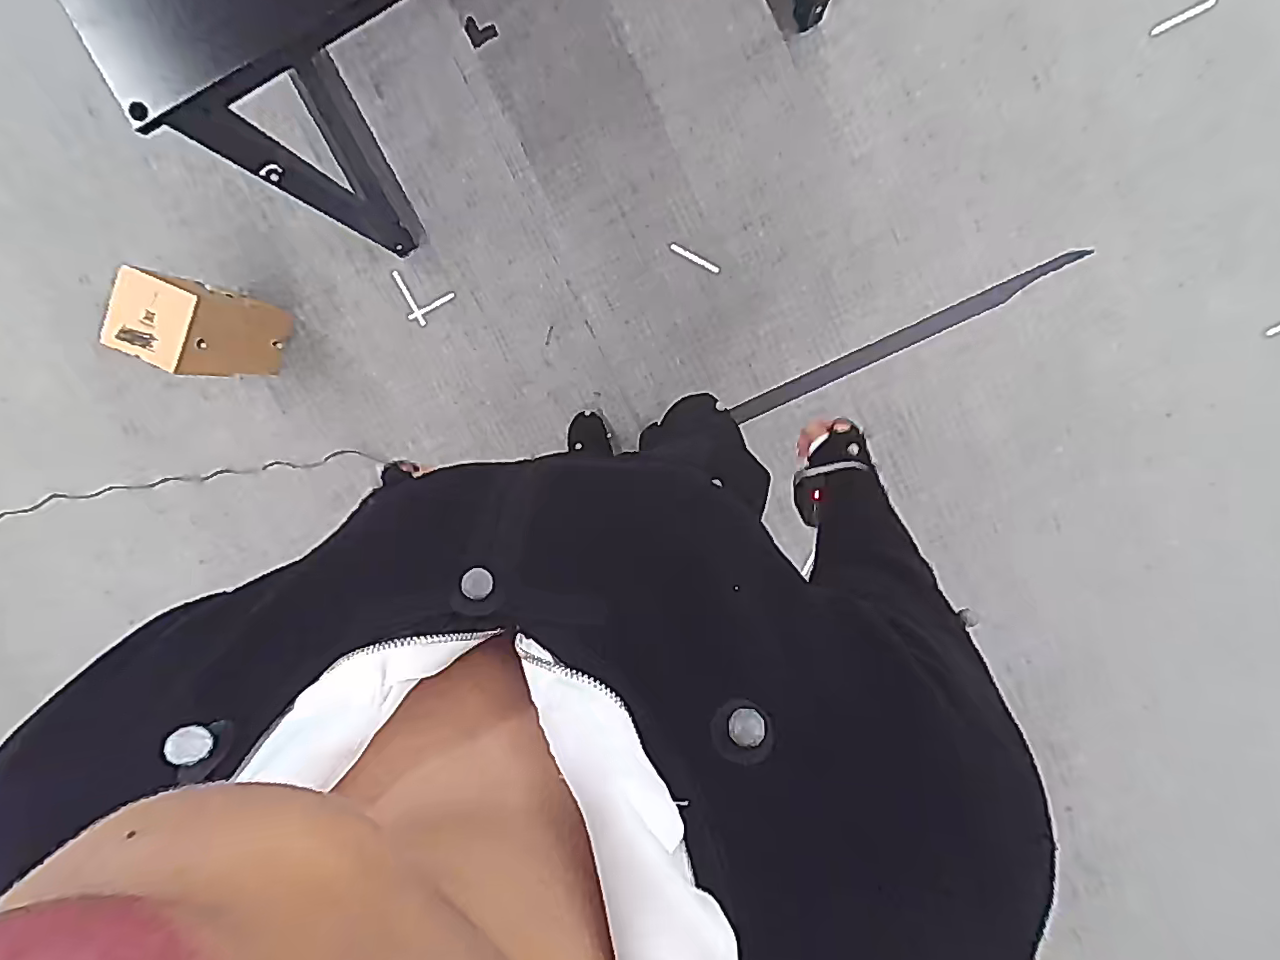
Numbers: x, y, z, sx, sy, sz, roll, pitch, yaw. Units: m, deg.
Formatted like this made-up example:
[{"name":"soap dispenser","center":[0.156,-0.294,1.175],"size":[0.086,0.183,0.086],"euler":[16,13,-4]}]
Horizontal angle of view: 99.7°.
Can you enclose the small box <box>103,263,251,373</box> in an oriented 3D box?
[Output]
[{"name":"small box","center":[-1.016,-0.348,1.202],"size":[0.168,0.176,0.179],"euler":[24,98,-3]}]

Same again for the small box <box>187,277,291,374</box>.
[{"name":"small box","center":[-1.025,-0.381,1.365],"size":[0.168,0.176,0.179],"euler":[23,98,-2]}]
